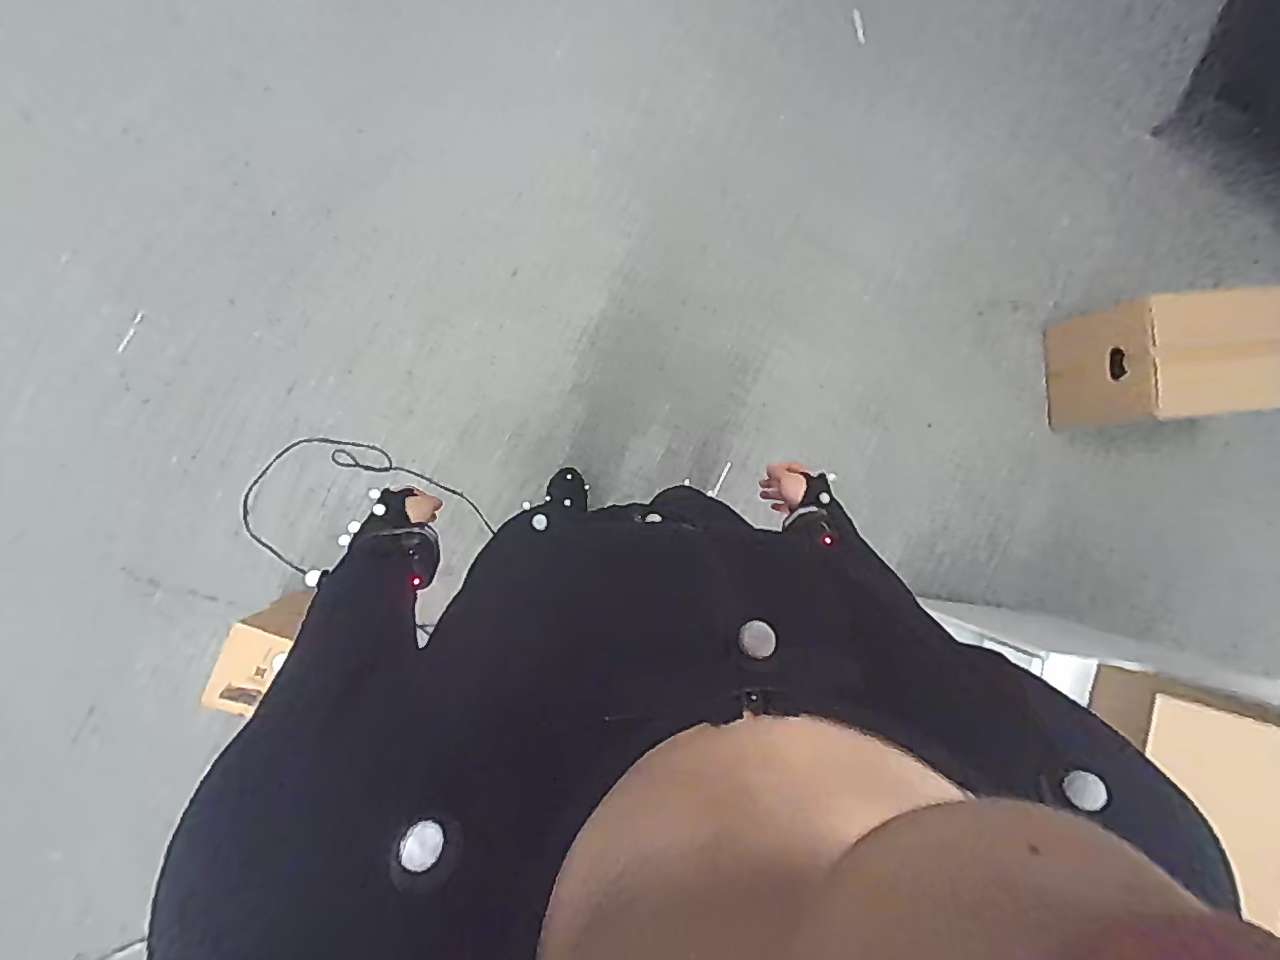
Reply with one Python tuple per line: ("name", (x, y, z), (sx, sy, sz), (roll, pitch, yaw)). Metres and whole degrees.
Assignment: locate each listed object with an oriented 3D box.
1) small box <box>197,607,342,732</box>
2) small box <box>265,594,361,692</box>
("small box", (-0.770, 0.393, 1.148), (0.168, 0.176, 0.179), (23, 86, -6))
("small box", (-0.806, 0.391, 1.309), (0.168, 0.176, 0.179), (19, 88, -6))
